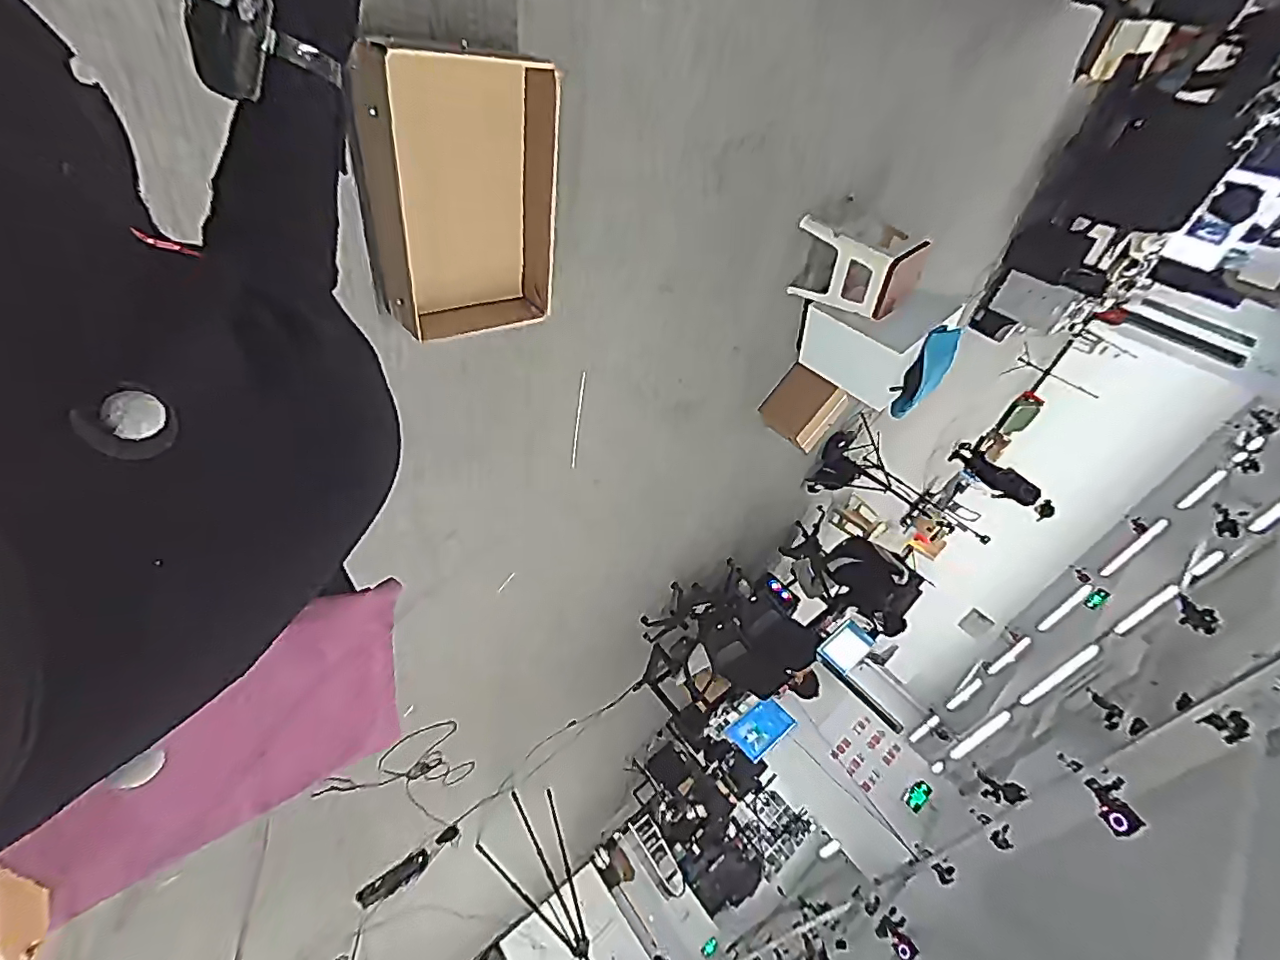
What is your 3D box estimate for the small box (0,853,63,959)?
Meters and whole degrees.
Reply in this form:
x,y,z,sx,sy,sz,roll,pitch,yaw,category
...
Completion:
x,y,z,sx,sy,sz,roll,pitch,yaw,category
-1.038,0.716,0.822,0.168,0.176,0.179,-22,142,-36,small box
